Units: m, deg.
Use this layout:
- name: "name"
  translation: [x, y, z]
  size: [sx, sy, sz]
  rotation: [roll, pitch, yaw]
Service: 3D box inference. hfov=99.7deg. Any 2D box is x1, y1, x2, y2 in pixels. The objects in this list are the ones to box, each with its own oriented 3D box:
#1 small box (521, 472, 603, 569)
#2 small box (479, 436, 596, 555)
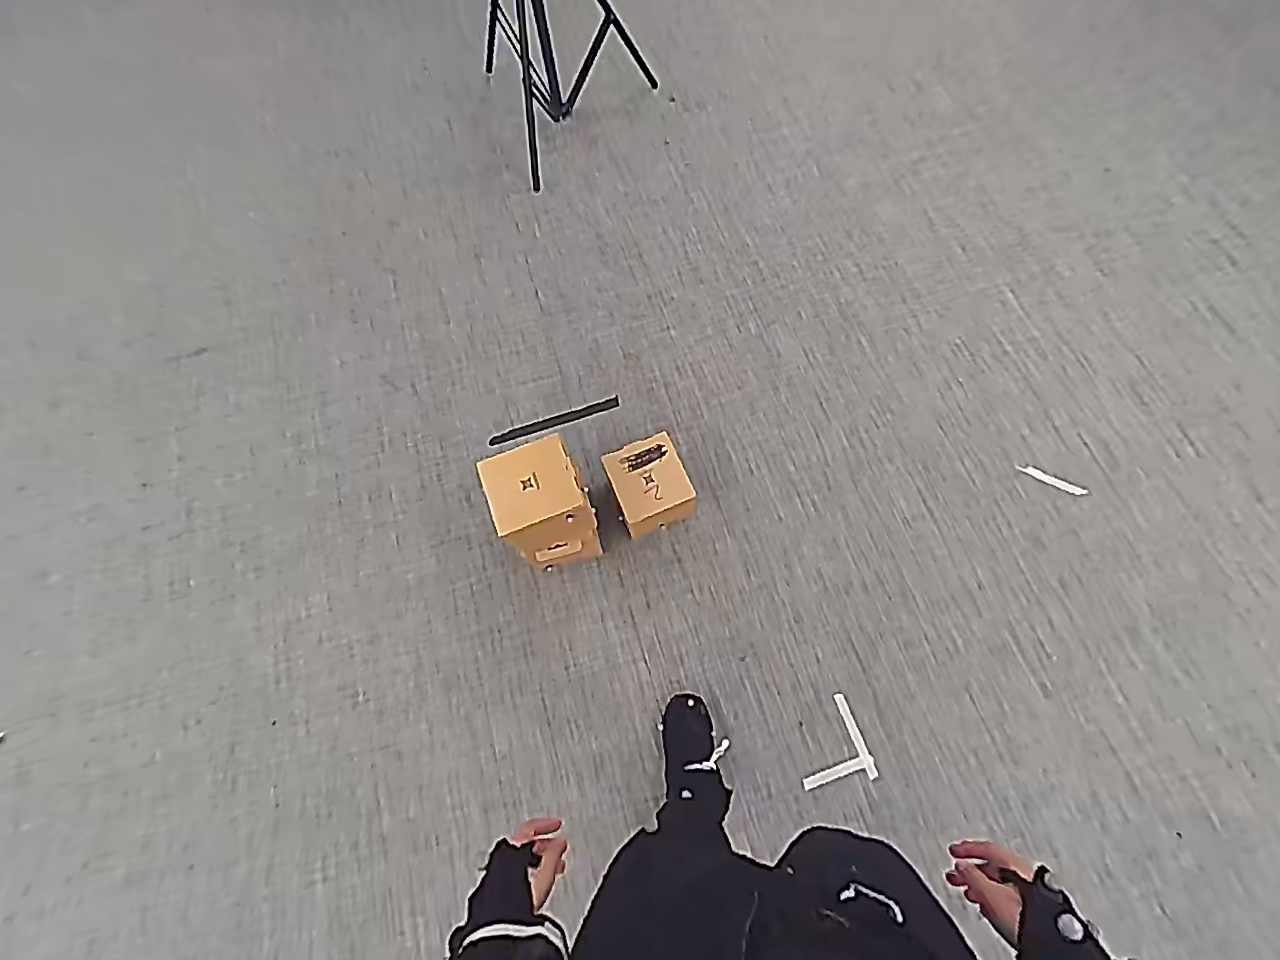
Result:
- name: "small box"
  translation: [-0.191, 0.103, 1.271]
  size: [0.168, 0.176, 0.179]
  rotation: [-15, 69, -2]
- name: "small box"
  translation: [-0.206, 0.041, 1.121]
  size: [0.179, 0.176, 0.168]
  rotation: [-22, 70, -5]
